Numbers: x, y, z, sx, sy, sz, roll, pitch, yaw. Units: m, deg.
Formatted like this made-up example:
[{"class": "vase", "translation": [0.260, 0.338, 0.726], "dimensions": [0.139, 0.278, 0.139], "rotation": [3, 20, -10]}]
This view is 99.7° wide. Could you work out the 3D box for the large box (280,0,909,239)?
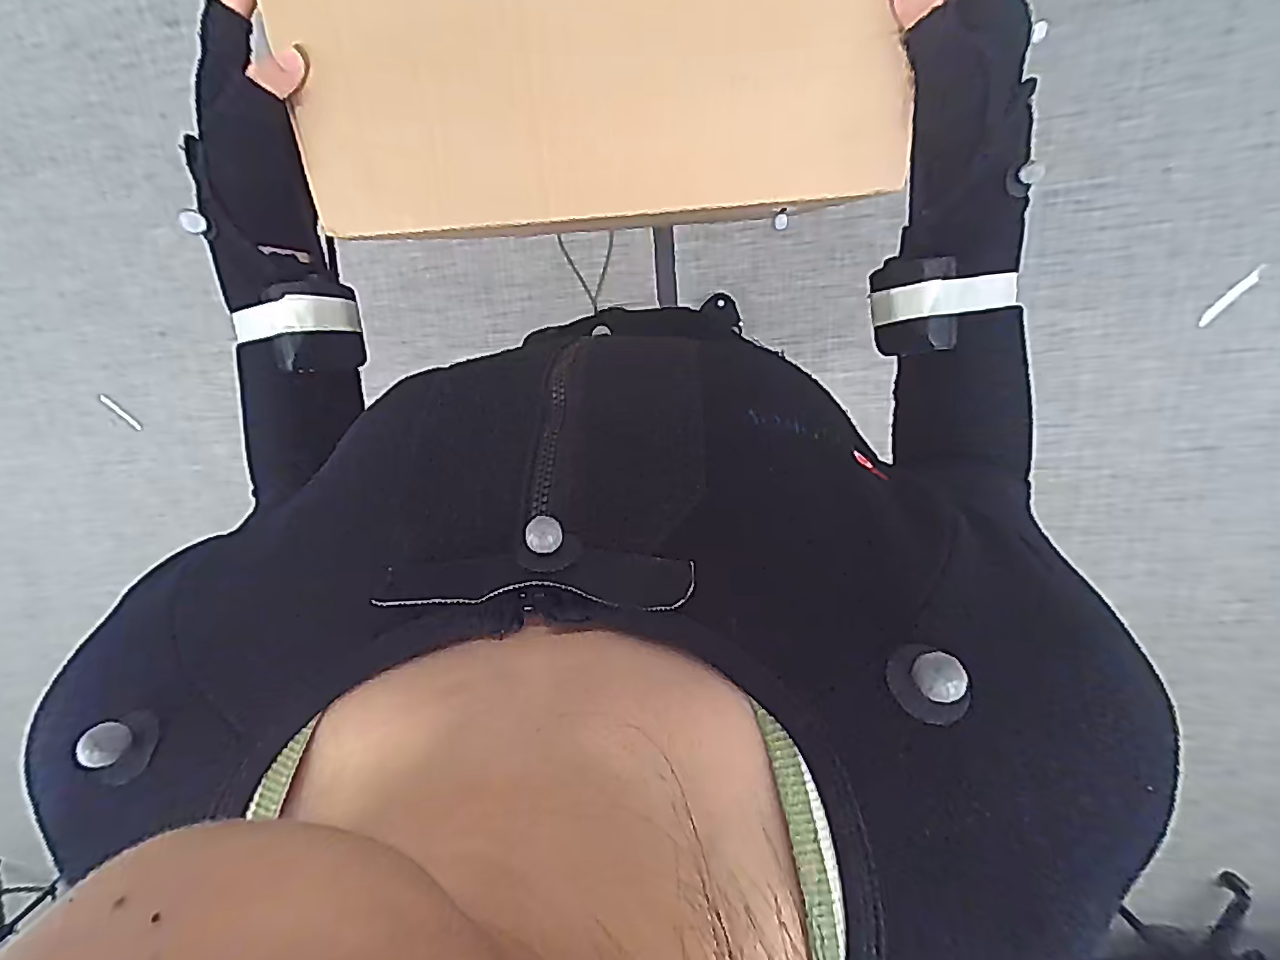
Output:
[{"class": "large box", "translation": [-0.026, -0.393, 0.461], "dimensions": [0.408, 0.320, 0.320], "rotation": [-3, 113, 4]}]
